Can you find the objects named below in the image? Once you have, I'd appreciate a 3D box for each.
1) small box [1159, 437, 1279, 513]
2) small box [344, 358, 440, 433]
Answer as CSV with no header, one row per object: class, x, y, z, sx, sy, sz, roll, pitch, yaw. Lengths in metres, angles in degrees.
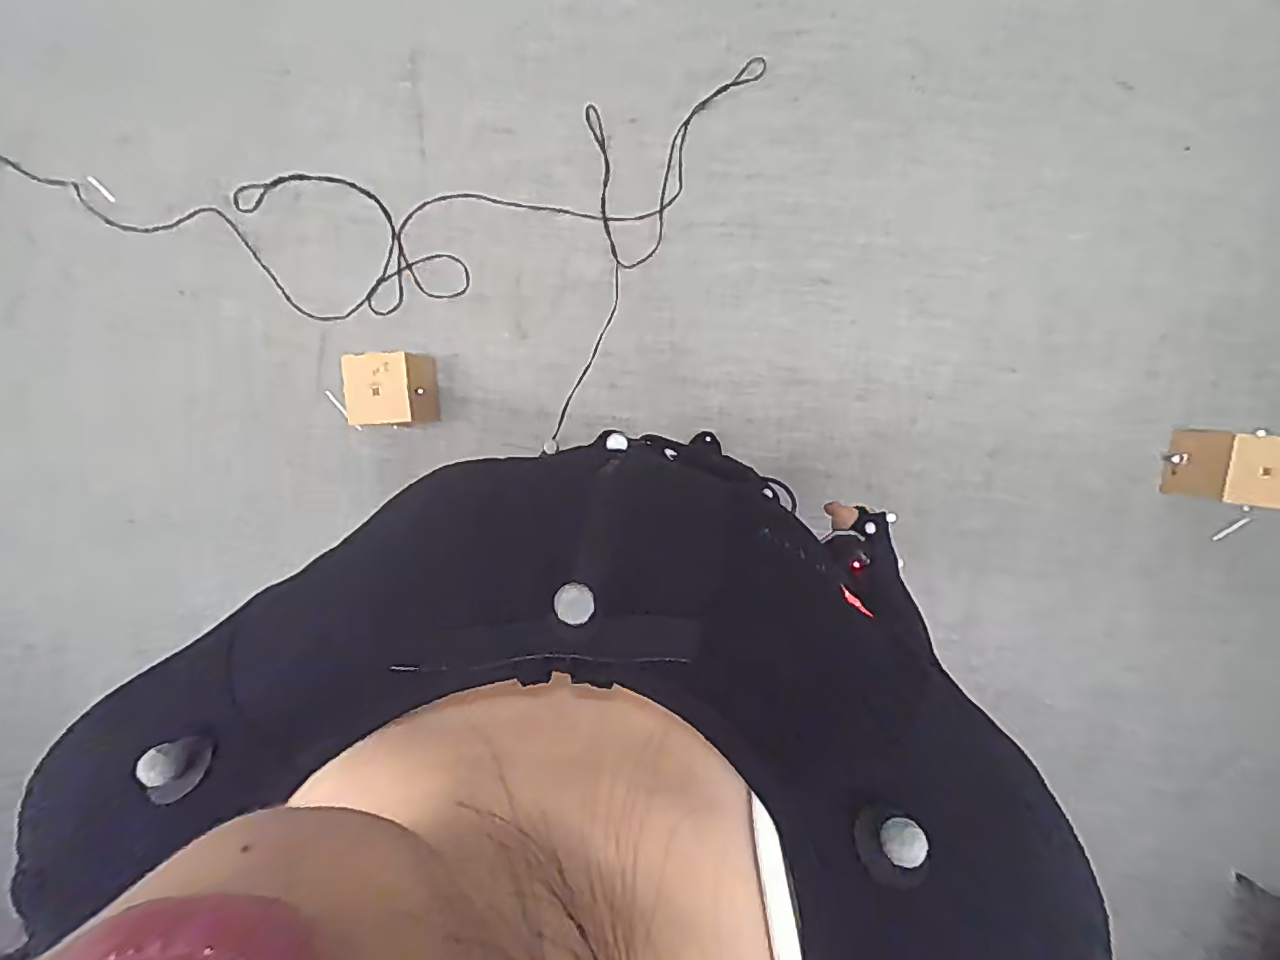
small box,1.460,-0.017,1.337,0.179,0.176,0.168,6,95,4
small box,-0.639,-0.217,1.413,0.168,0.176,0.179,-3,95,3
